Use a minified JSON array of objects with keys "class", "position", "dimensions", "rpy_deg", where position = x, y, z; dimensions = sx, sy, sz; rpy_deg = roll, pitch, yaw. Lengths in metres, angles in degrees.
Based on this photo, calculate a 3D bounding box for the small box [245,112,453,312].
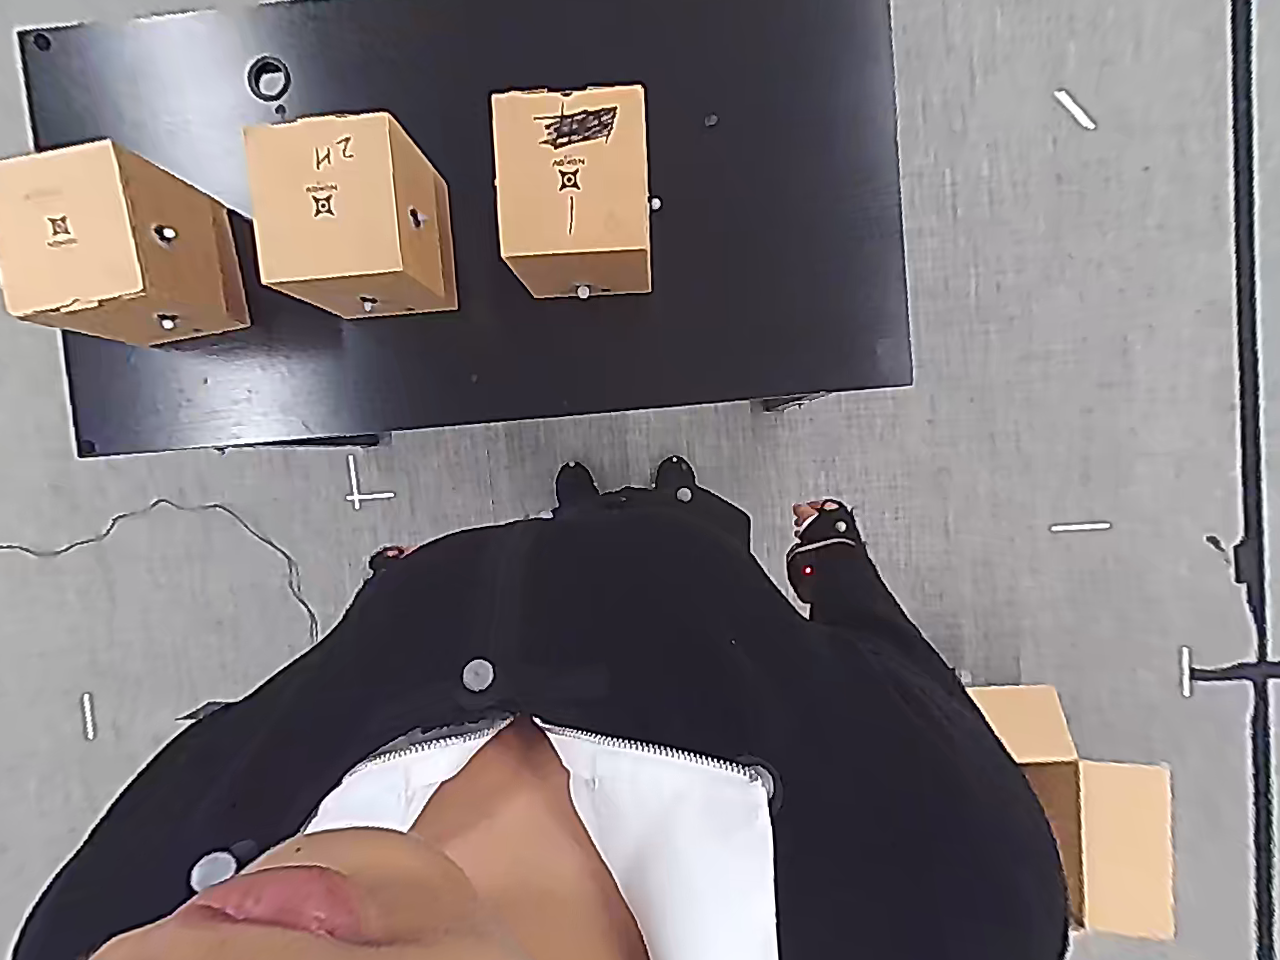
[{"class":"small box","position":[-0.347,-0.316,0.678],"dimensions":[0.168,0.176,0.179],"rpy_deg":[-4,93,2]}]

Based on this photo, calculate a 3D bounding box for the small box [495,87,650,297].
[{"class":"small box","position":[-0.073,-0.339,0.668],"dimensions":[0.168,0.176,0.179],"rpy_deg":[-2,94,2]}]

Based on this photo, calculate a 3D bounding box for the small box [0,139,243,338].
[{"class":"small box","position":[-0.653,-0.289,0.691],"dimensions":[0.168,0.176,0.179],"rpy_deg":[-10,92,1]}]
